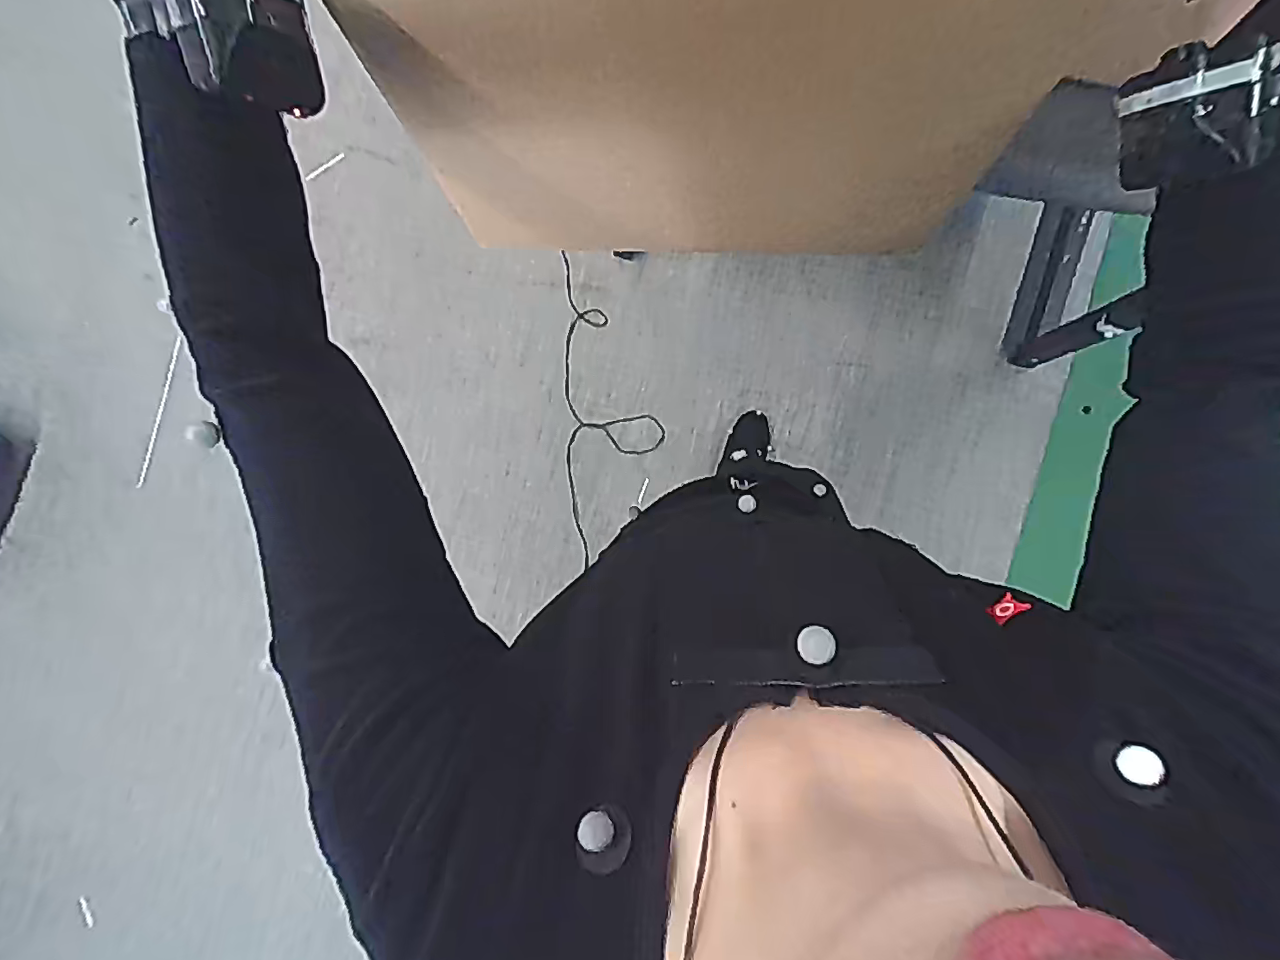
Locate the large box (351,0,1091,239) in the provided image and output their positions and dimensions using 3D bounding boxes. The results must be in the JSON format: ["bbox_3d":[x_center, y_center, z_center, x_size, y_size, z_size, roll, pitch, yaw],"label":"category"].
[{"bbox_3d":[0.045,-0.390,0.367,0.408,0.320,0.320,2,82,3],"label":"large box"}]
